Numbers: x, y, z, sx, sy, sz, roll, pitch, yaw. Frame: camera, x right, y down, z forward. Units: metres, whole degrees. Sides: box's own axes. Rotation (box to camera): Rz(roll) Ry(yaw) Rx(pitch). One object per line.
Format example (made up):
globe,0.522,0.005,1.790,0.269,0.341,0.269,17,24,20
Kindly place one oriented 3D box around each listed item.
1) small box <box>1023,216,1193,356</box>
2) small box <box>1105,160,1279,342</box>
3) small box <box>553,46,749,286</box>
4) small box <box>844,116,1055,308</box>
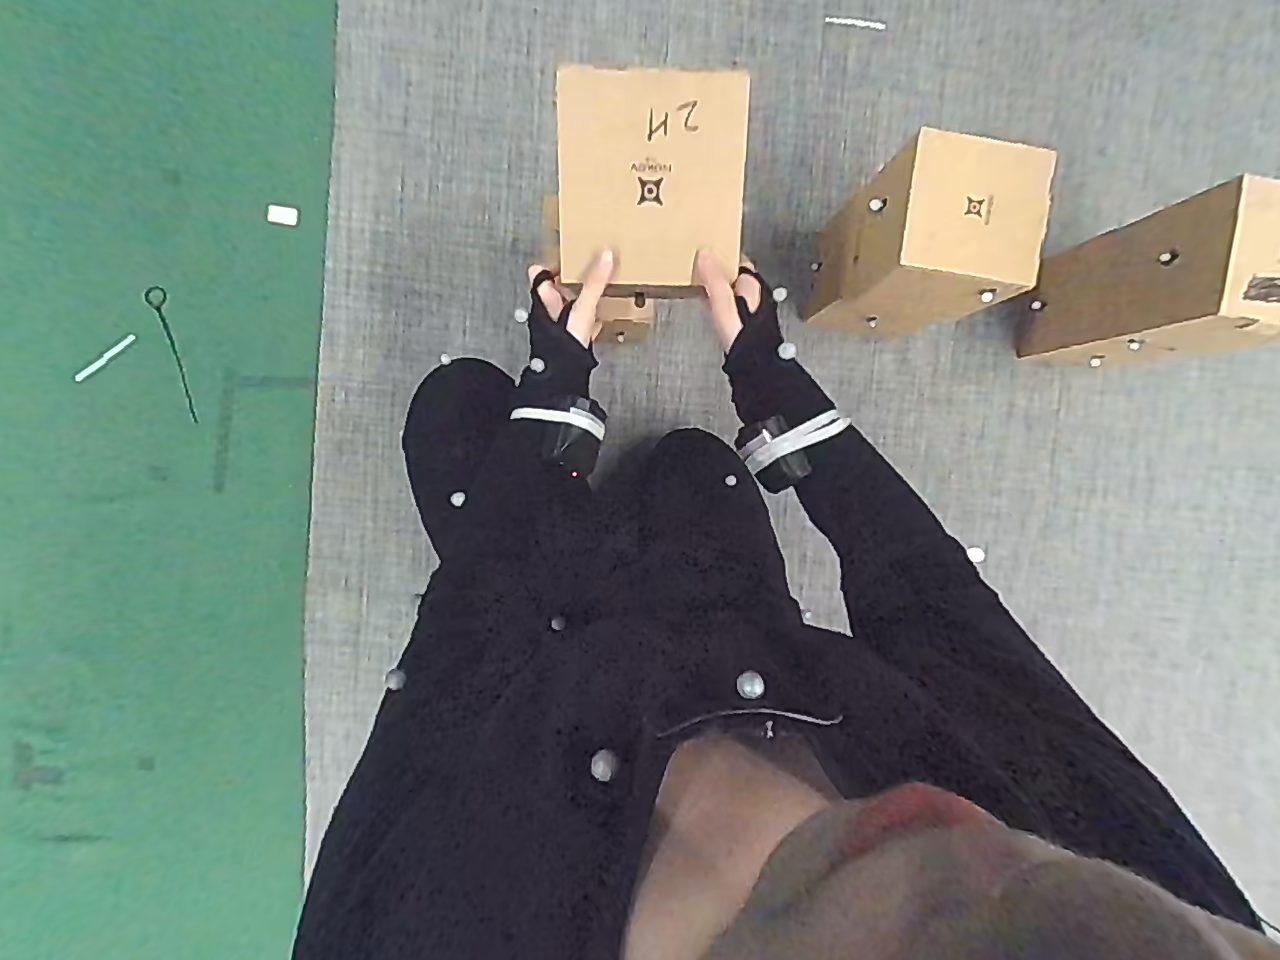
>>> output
small box,0.791,-0.313,0.911,0.168,0.176,0.179,6,94,-4
small box,0.799,-0.298,0.747,0.168,0.176,0.179,7,92,-4
small box,0.006,-0.293,0.545,0.168,0.176,0.179,0,105,-2
small box,0.396,-0.342,0.723,0.179,0.176,0.168,7,93,-3
